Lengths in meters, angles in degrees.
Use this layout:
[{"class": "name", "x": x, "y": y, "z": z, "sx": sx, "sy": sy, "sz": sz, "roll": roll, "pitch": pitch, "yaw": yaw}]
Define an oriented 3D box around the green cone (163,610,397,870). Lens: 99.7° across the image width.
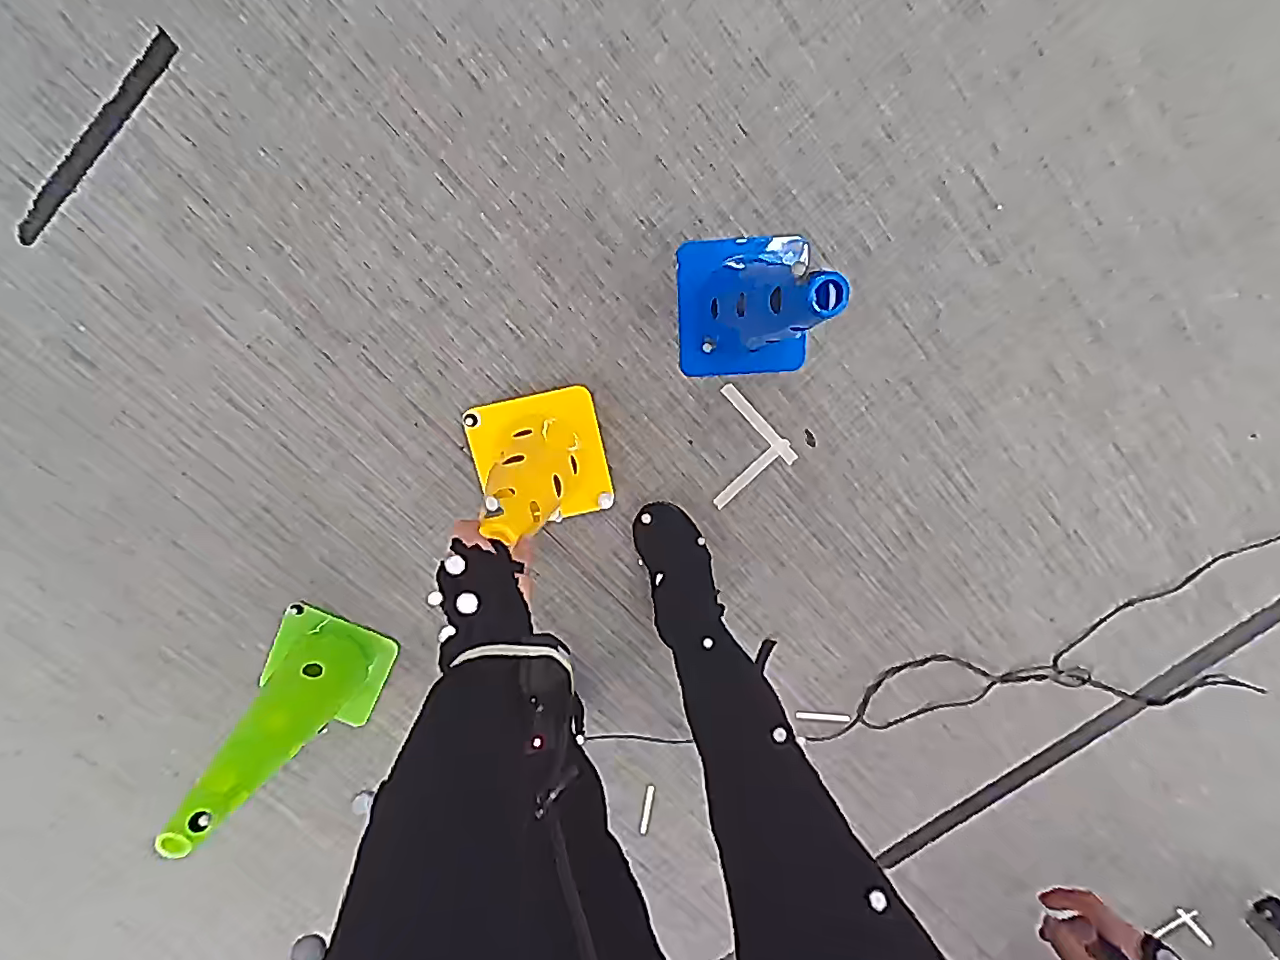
[{"class": "green cone", "x": -0.547, "y": 0.388, "z": 0.797, "sx": 0.202, "sy": 0.368, "sz": 0.200, "roll": 25, "pitch": 104, "yaw": -9}]
